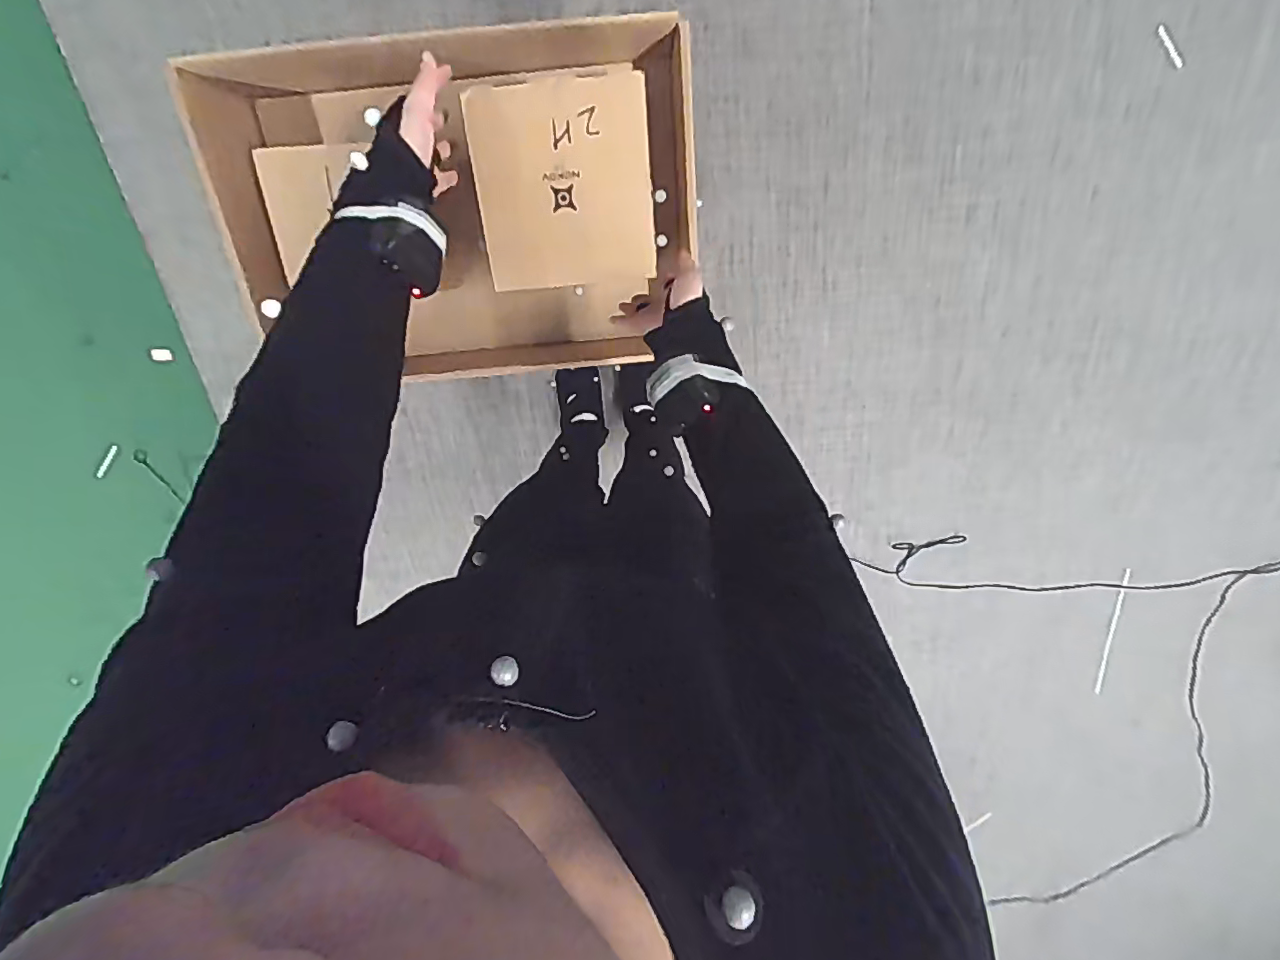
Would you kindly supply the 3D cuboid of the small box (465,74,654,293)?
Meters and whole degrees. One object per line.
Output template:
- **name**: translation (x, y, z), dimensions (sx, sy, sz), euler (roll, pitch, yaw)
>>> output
- **small box**: translation (-0.070, -0.305, 0.584), dimensions (0.168, 0.176, 0.179), euler (-4, 113, 1)
